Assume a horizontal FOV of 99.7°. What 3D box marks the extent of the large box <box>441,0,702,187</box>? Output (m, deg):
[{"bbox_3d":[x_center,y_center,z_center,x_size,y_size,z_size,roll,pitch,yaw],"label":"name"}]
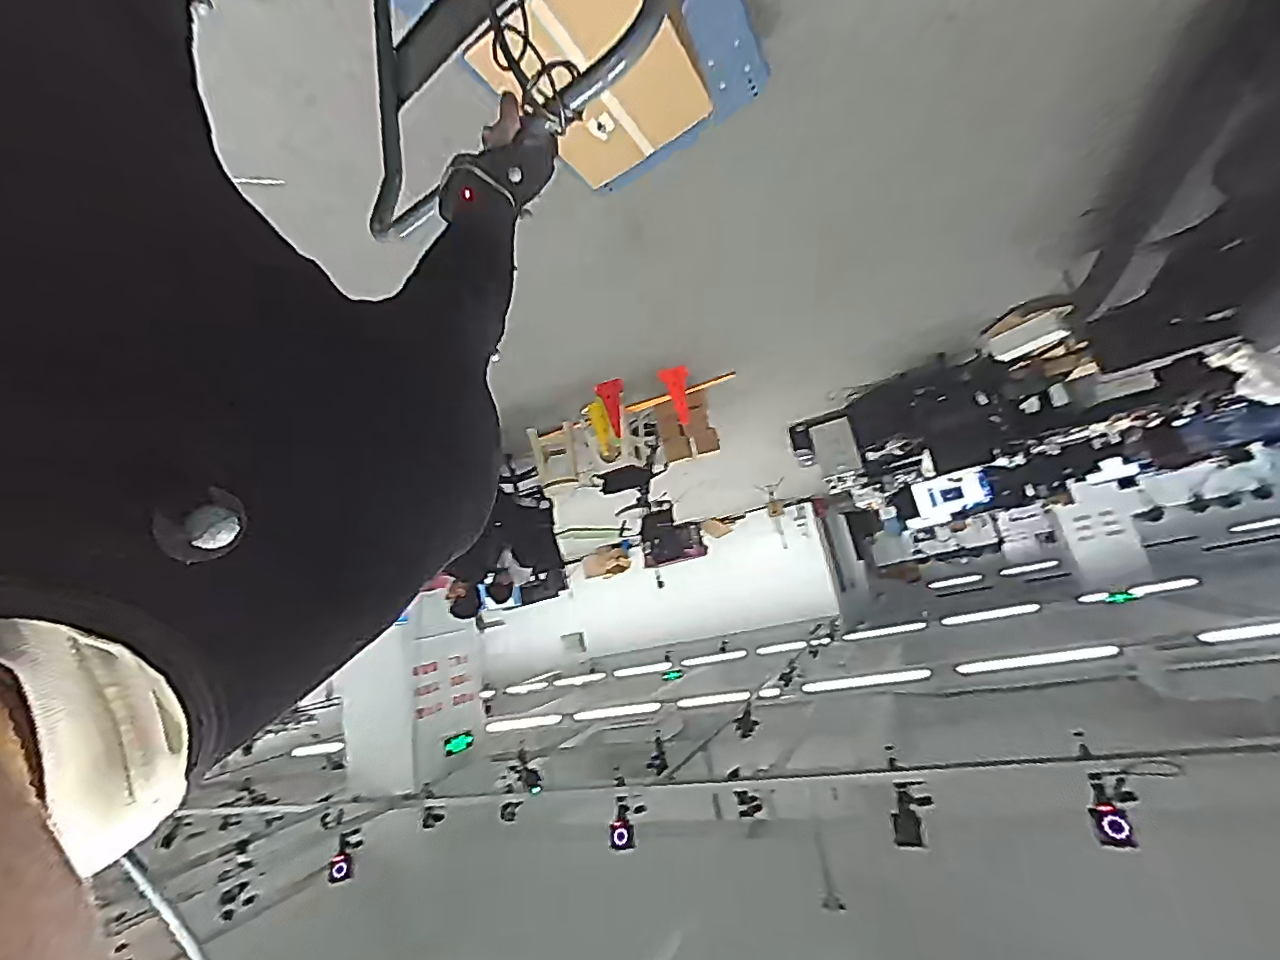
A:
[{"bbox_3d":[-0.130,-0.878,1.044,0.320,0.320,0.408,-19,167,26],"label":"large box"}]
